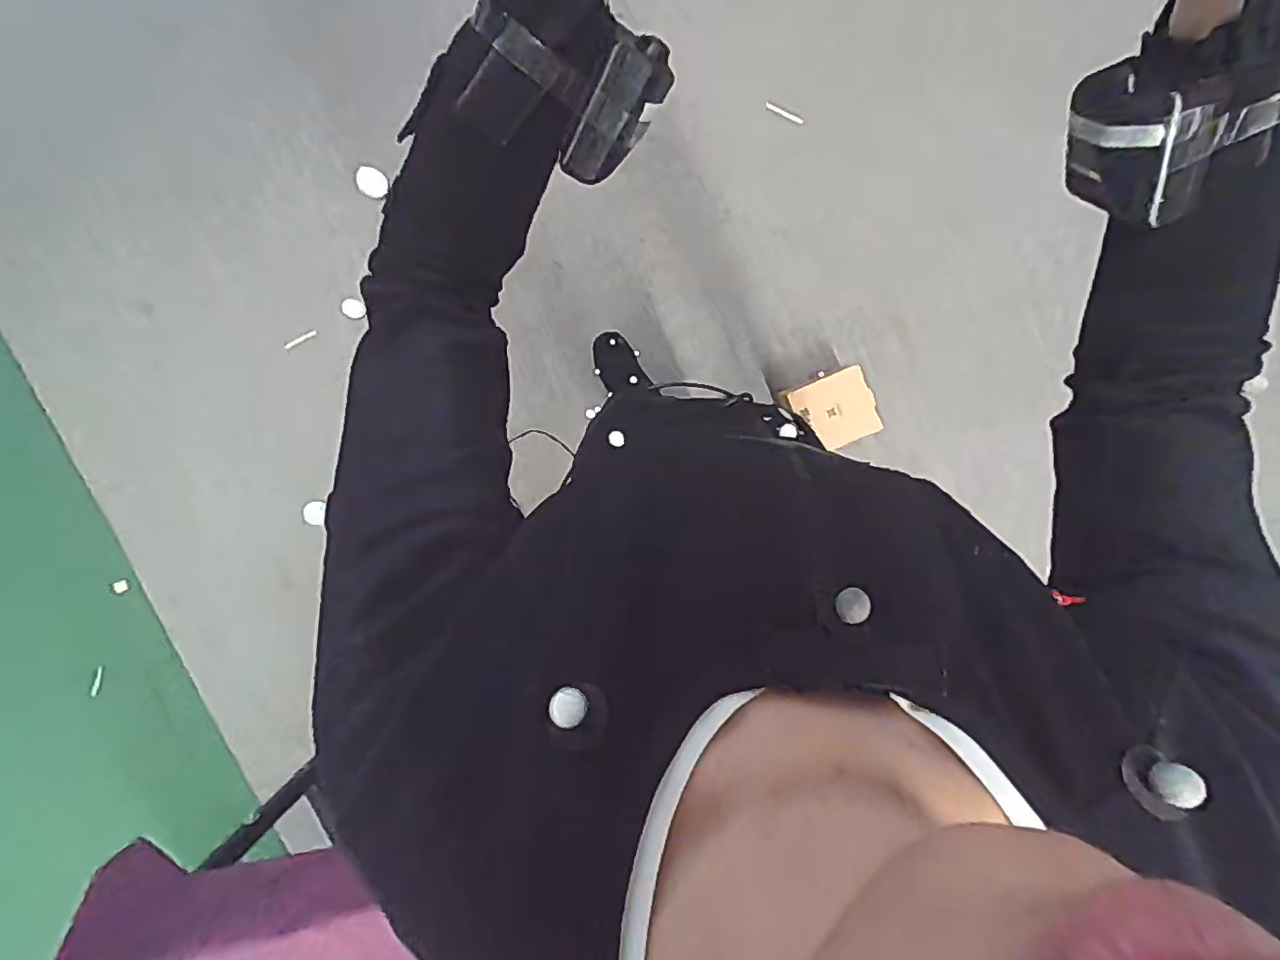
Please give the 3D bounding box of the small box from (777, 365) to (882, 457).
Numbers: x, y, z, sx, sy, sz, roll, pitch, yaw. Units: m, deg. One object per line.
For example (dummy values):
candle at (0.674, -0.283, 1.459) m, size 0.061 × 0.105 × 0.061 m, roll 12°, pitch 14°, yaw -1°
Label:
small box at (0.456, -0.171, 1.326) m, size 0.179 × 0.176 × 0.168 m, roll -22°, pitch 96°, yaw 9°
